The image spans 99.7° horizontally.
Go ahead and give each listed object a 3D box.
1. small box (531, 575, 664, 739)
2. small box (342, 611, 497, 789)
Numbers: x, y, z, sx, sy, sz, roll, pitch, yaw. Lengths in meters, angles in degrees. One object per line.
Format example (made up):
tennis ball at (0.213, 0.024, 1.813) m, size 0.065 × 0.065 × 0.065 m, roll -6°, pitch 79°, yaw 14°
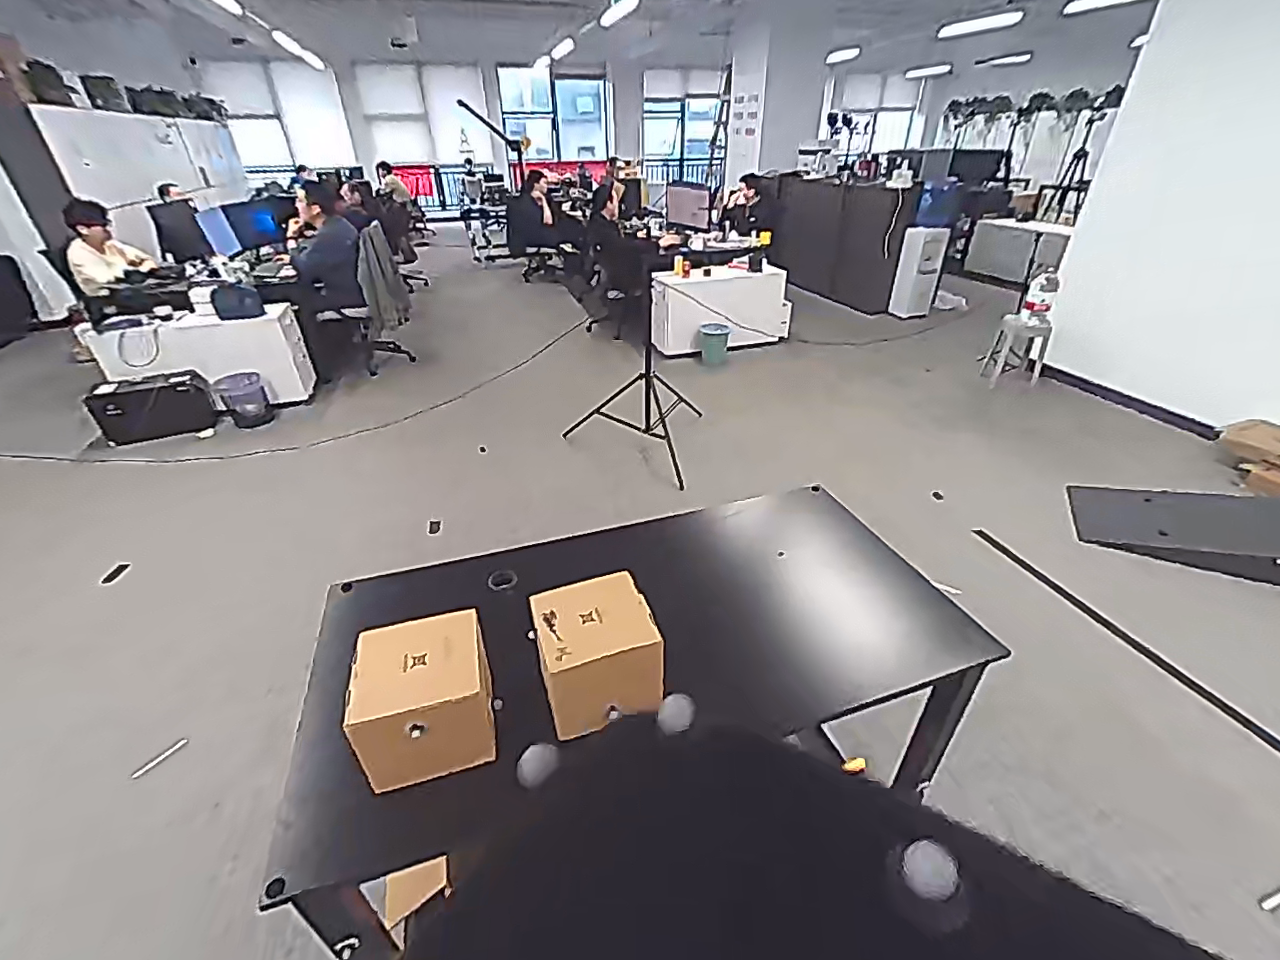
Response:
small box at (-0.072, 0.286, 0.887) m, size 0.179 × 0.176 × 0.168 m, roll -11°, pitch 33°, yaw -16°
small box at (-0.323, 0.332, 0.821) m, size 0.179 × 0.176 × 0.168 m, roll -10°, pitch 34°, yaw -15°
